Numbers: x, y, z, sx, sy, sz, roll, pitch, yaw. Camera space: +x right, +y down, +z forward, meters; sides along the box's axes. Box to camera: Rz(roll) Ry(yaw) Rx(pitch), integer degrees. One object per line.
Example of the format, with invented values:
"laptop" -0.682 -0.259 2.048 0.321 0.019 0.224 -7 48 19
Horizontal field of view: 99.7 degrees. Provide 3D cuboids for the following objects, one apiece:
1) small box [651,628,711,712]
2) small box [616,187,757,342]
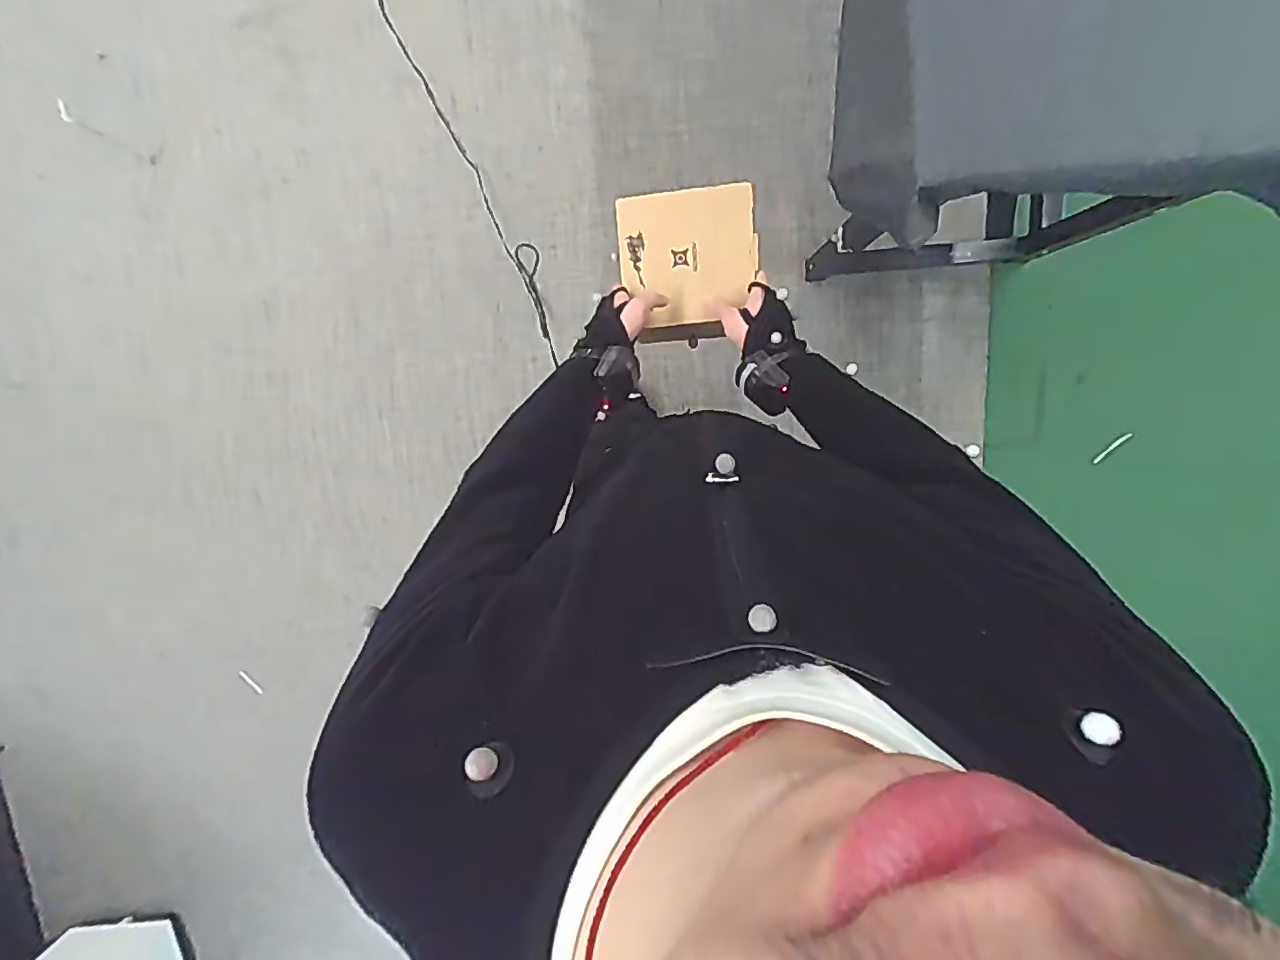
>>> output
"small box" 0.117 0.548 1.571 0.168 0.176 0.179 -1 99 2
"small box" 0.067 -0.294 0.771 0.179 0.176 0.168 -3 98 6
